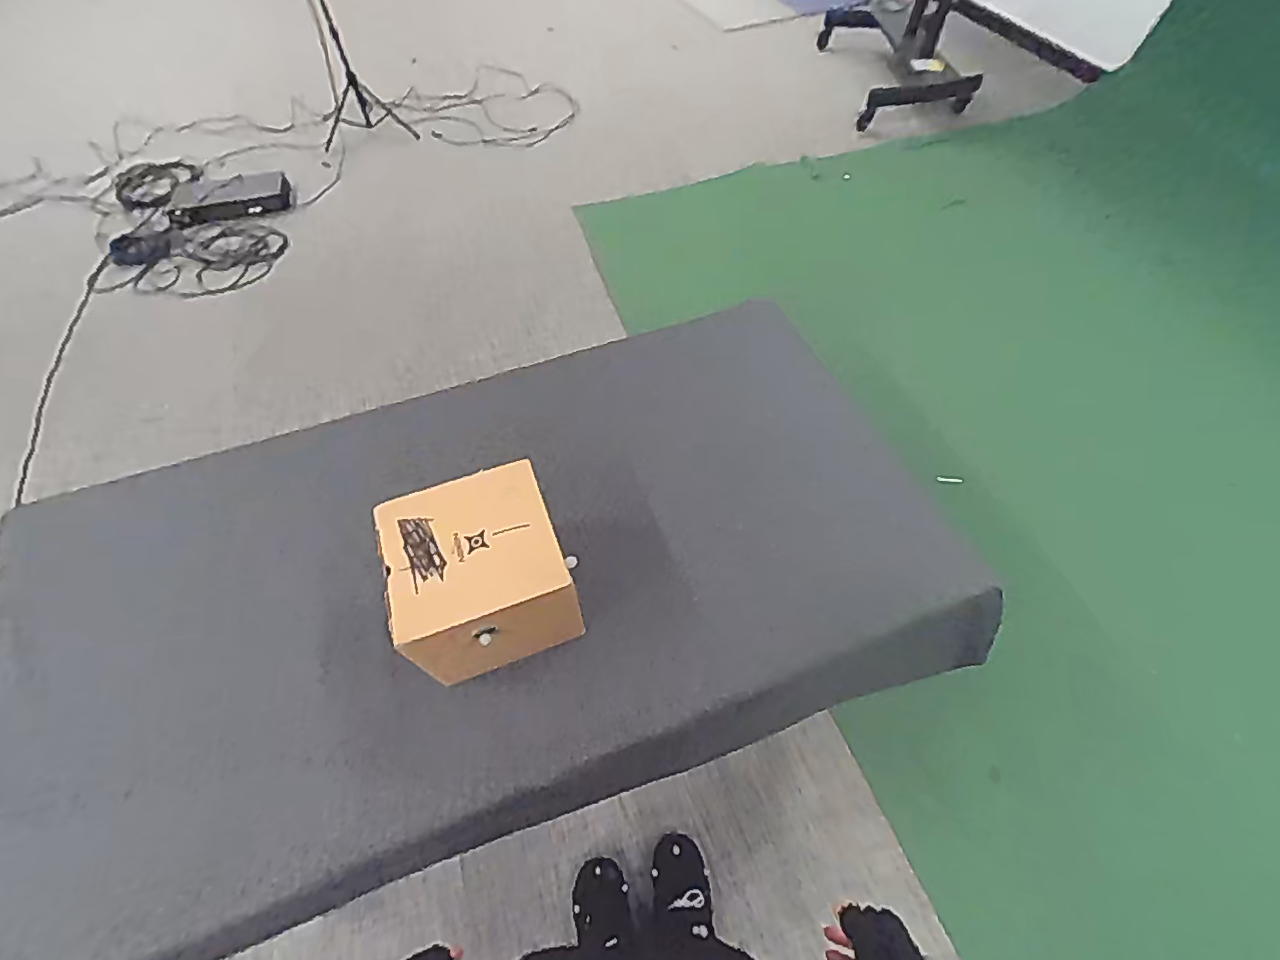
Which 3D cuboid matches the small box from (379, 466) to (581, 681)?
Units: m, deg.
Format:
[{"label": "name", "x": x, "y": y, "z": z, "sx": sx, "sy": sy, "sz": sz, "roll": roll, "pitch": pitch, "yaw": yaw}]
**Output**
[{"label": "small box", "x": -0.179, "y": 0.115, "z": 0.637, "sx": 0.179, "sy": 0.176, "sz": 0.168, "roll": -18, "pitch": 59, "yaw": -12}]
